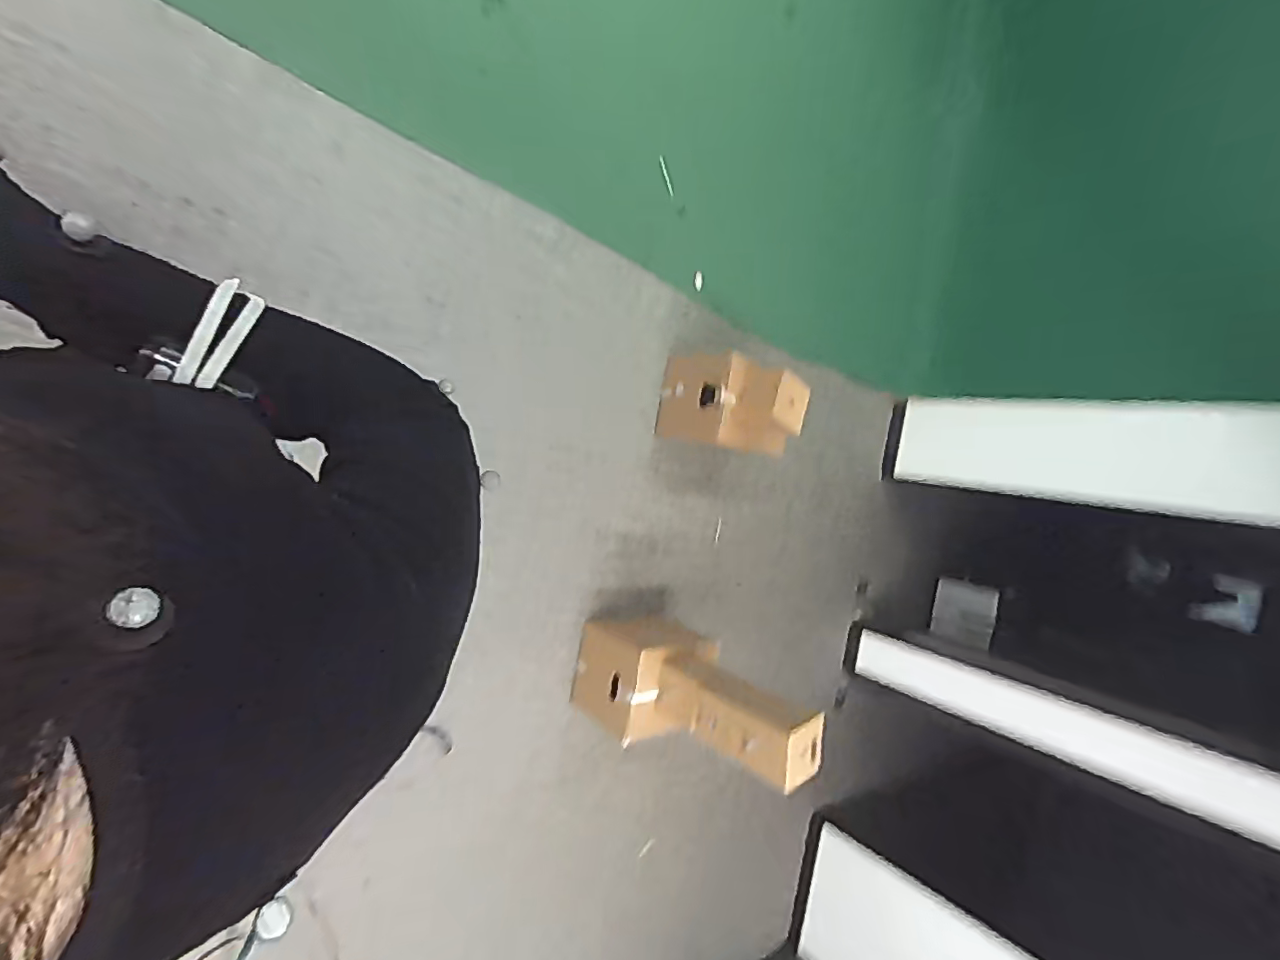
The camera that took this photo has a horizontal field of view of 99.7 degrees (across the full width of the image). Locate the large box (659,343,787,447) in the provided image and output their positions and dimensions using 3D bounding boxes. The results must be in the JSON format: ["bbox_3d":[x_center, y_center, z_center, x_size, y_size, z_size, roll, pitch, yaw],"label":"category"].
[{"bbox_3d":[0.329,-0.313,2.062,0.408,0.320,0.320,8,92,-43],"label":"large box"}]

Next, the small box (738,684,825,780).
[{"bbox_3d":[0.405,0.713,1.557,0.179,0.176,0.168,-4,99,-40],"label":"small box"}]

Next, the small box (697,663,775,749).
[{"bbox_3d":[0.295,0.693,1.679,0.179,0.176,0.168,-3,99,-40],"label":"small box"}]

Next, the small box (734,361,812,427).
[{"bbox_3d":[0.453,-0.293,1.845,0.179,0.176,0.168,23,81,-41],"label":"small box"}]
